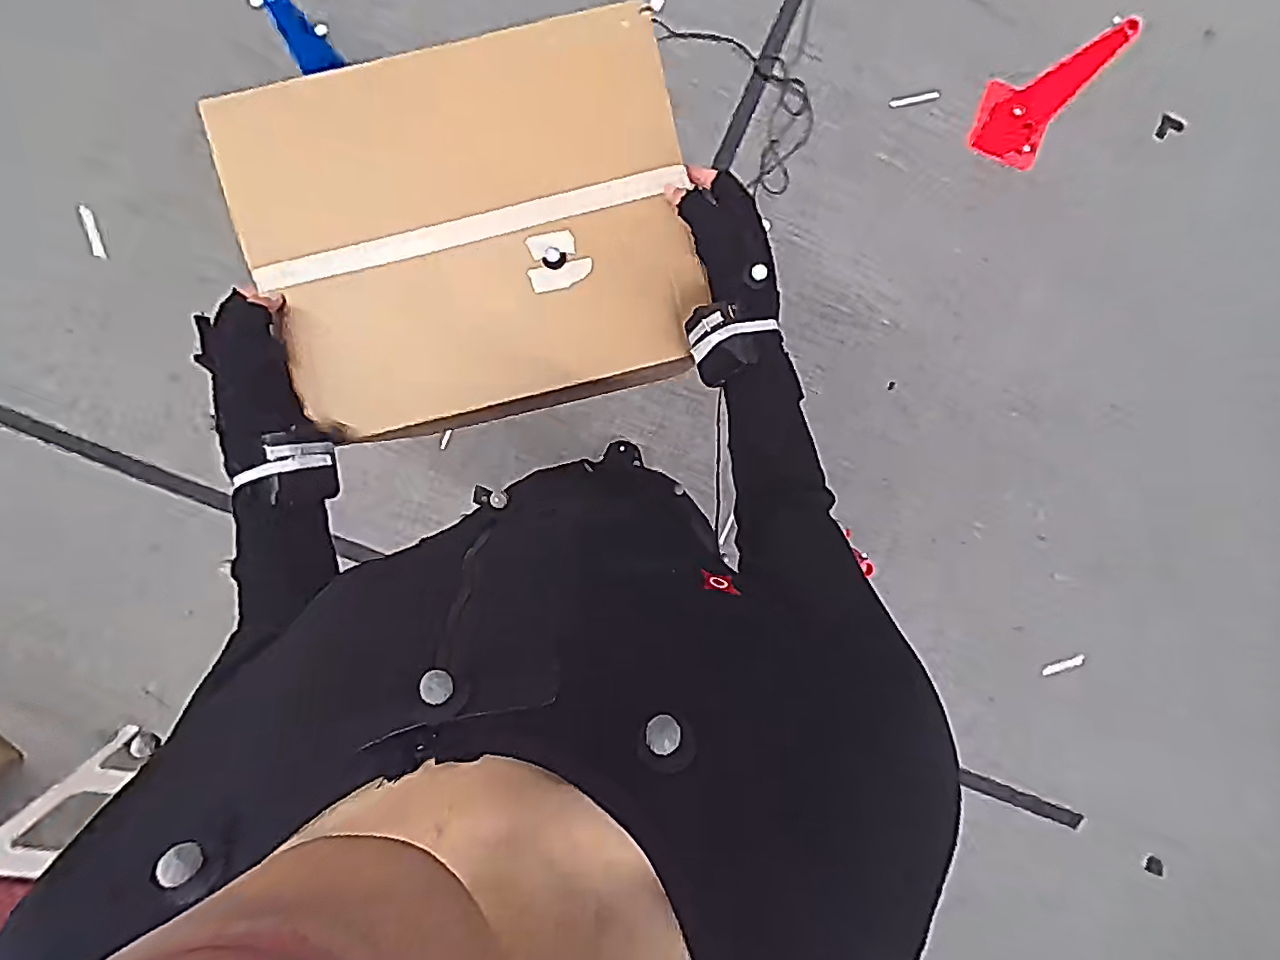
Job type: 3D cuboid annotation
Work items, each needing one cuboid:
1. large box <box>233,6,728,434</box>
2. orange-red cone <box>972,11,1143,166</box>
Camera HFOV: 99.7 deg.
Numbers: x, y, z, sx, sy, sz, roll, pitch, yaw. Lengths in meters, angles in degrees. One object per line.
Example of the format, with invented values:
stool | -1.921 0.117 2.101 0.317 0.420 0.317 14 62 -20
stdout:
large box | -0.148 -0.252 0.650 0.408 0.320 0.320 -13 97 -1
orange-red cone | 1.044 -0.991 1.329 0.198 0.360 0.199 20 90 -5
